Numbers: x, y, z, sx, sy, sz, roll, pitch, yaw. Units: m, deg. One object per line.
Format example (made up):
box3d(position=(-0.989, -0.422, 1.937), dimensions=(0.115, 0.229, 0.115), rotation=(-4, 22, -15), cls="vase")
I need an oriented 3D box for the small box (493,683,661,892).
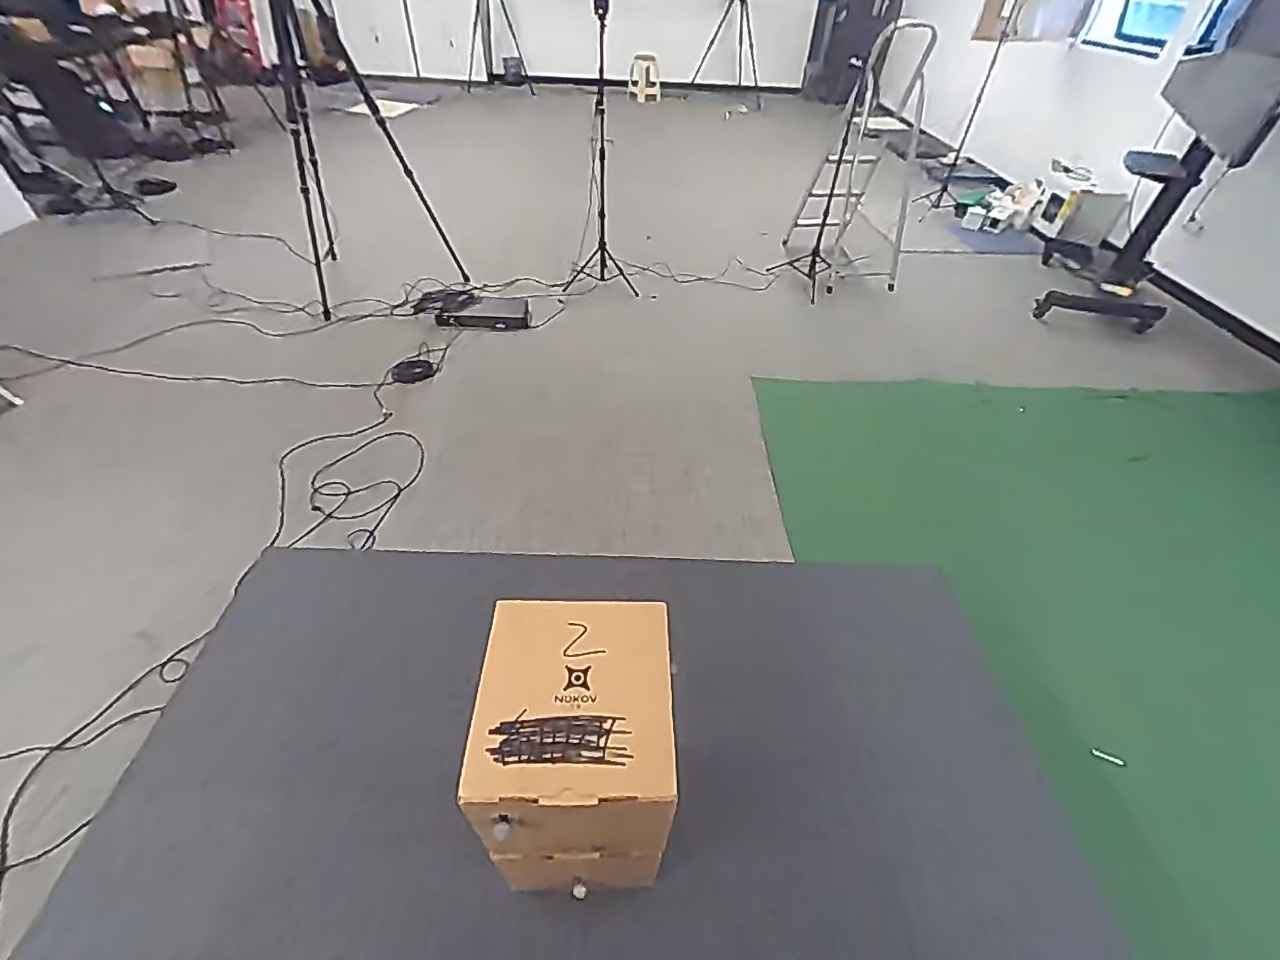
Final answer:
box3d(position=(-0.066, 0.359, 0.634), dimensions=(0.168, 0.176, 0.179), rotation=(1, 44, -3), cls="small box")
